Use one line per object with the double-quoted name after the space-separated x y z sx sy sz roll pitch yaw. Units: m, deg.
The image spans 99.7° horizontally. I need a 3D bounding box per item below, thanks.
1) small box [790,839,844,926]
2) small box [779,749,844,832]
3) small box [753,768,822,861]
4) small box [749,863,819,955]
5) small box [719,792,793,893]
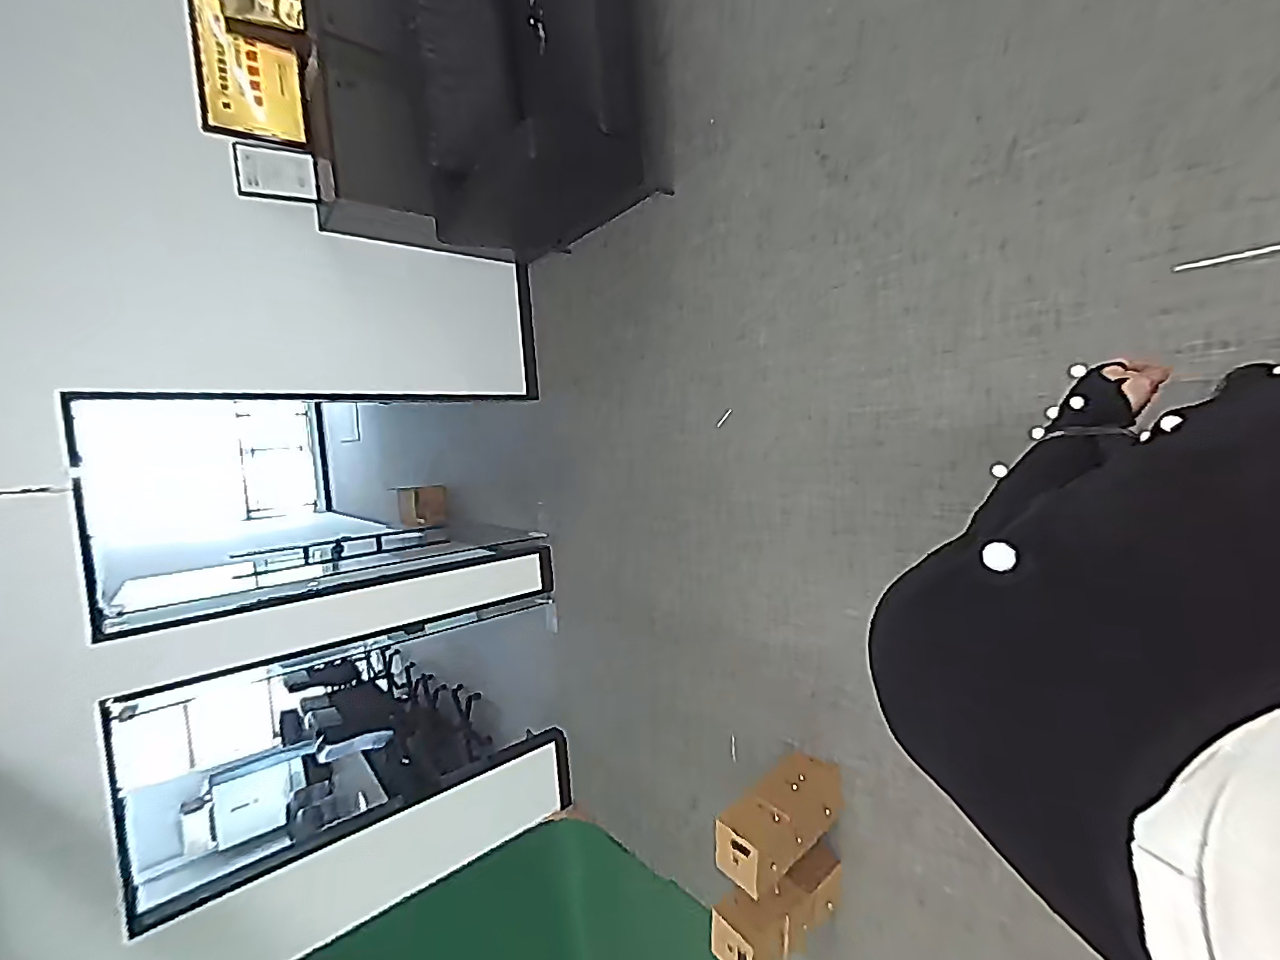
0.628 1.453 1.979 0.179 0.176 0.168 8 101 51 "small box"
0.618 1.111 1.944 0.168 0.176 0.179 5 99 50 "small box"
0.498 1.125 1.832 0.168 0.176 0.179 8 101 50 "small box"
0.500 1.463 1.874 0.179 0.176 0.168 10 102 50 "small box"
0.373 1.148 1.730 0.168 0.176 0.179 11 104 50 "small box"
